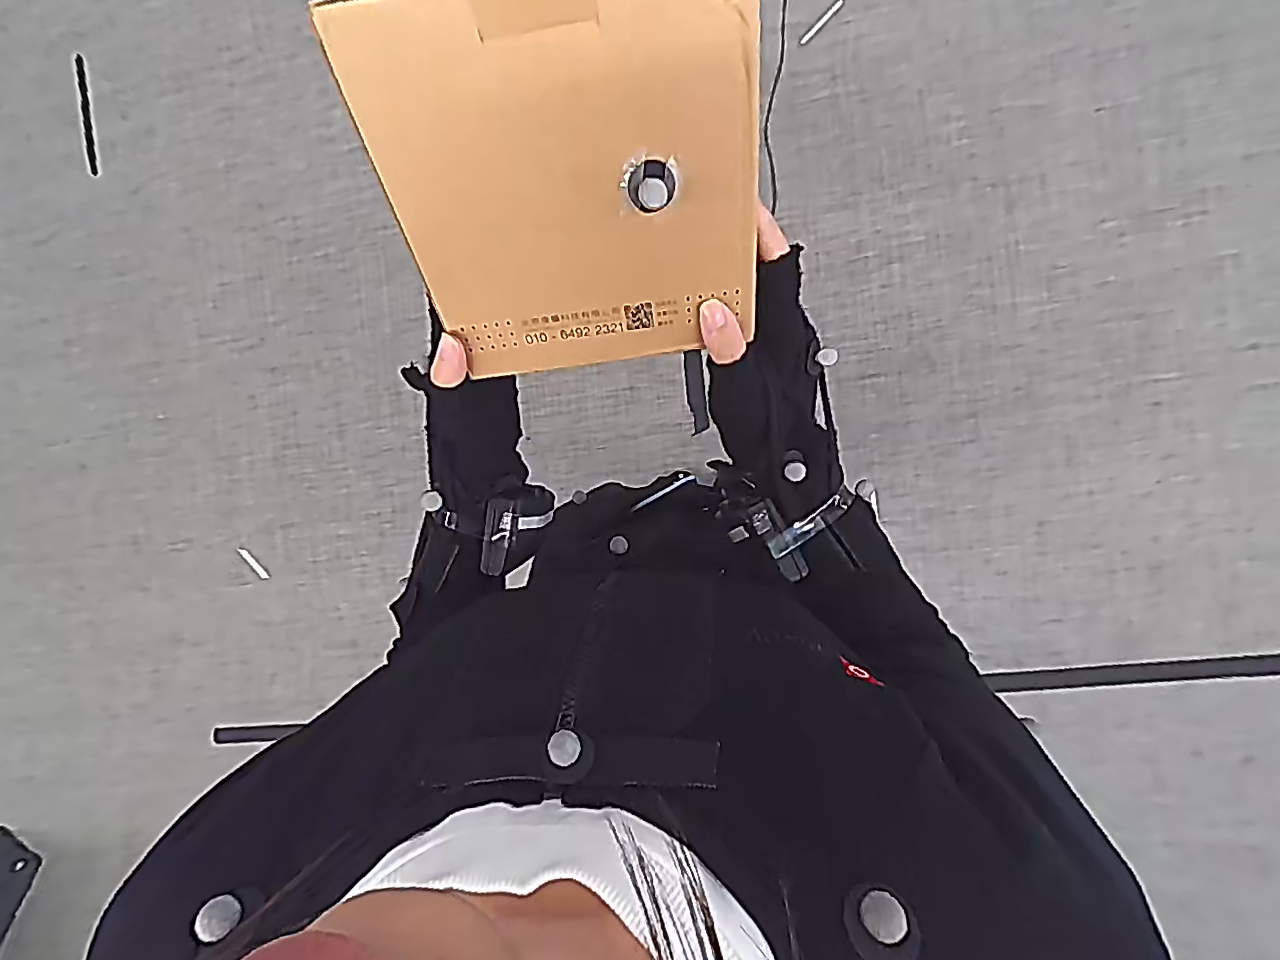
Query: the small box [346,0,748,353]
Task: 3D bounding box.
[{"bbox_3d":[-0.028,-0.189,0.323,0.168,0.176,0.179,-6,46,5],"label":"small box"}]
